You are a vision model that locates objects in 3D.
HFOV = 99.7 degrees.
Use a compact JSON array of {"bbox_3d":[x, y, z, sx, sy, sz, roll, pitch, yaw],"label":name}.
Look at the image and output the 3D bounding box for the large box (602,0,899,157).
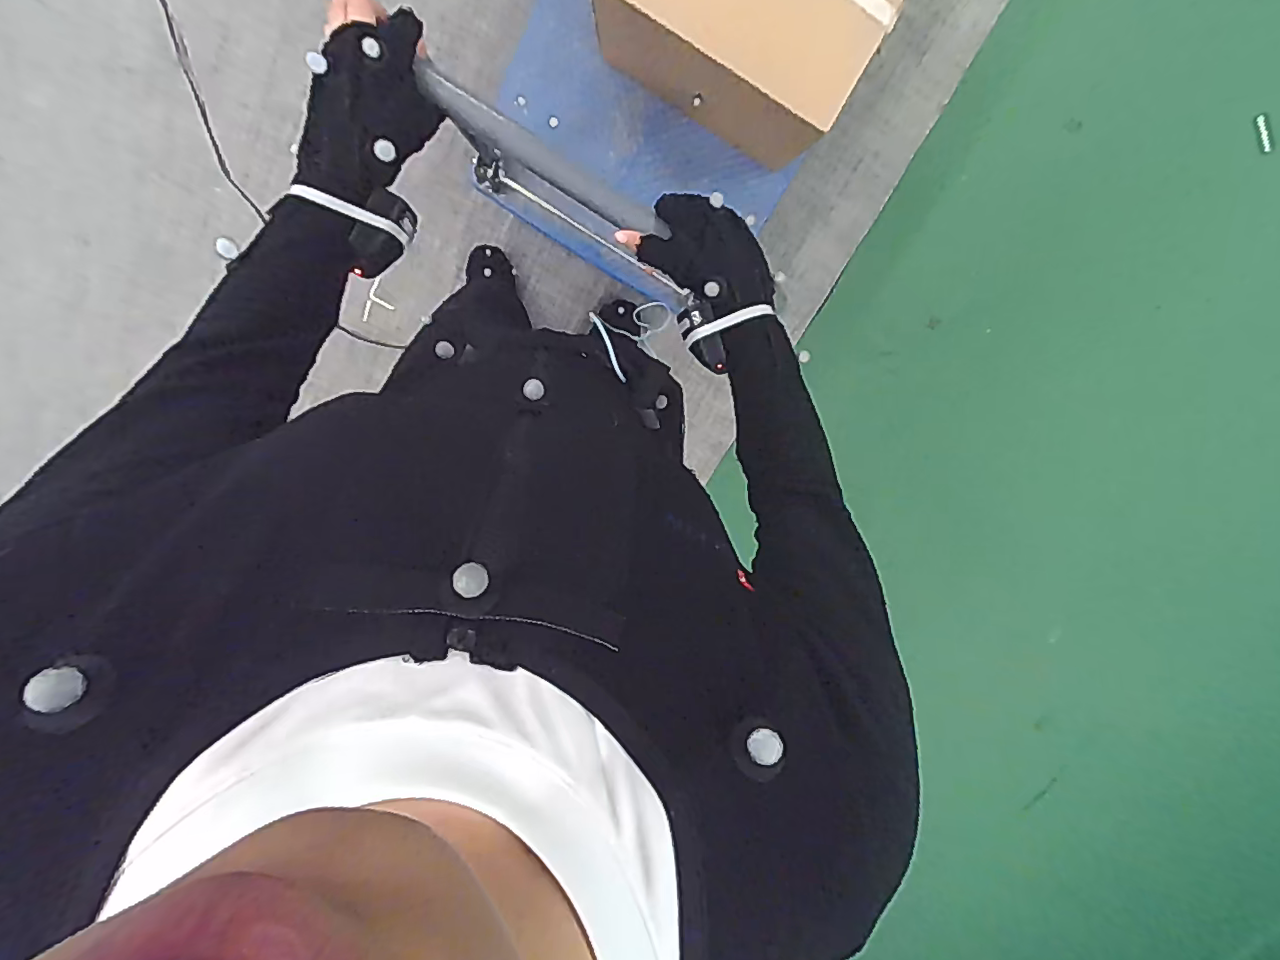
[{"bbox_3d":[0.187,-0.803,0.882,0.408,0.320,0.320,26,109,-9],"label":"large box"}]
